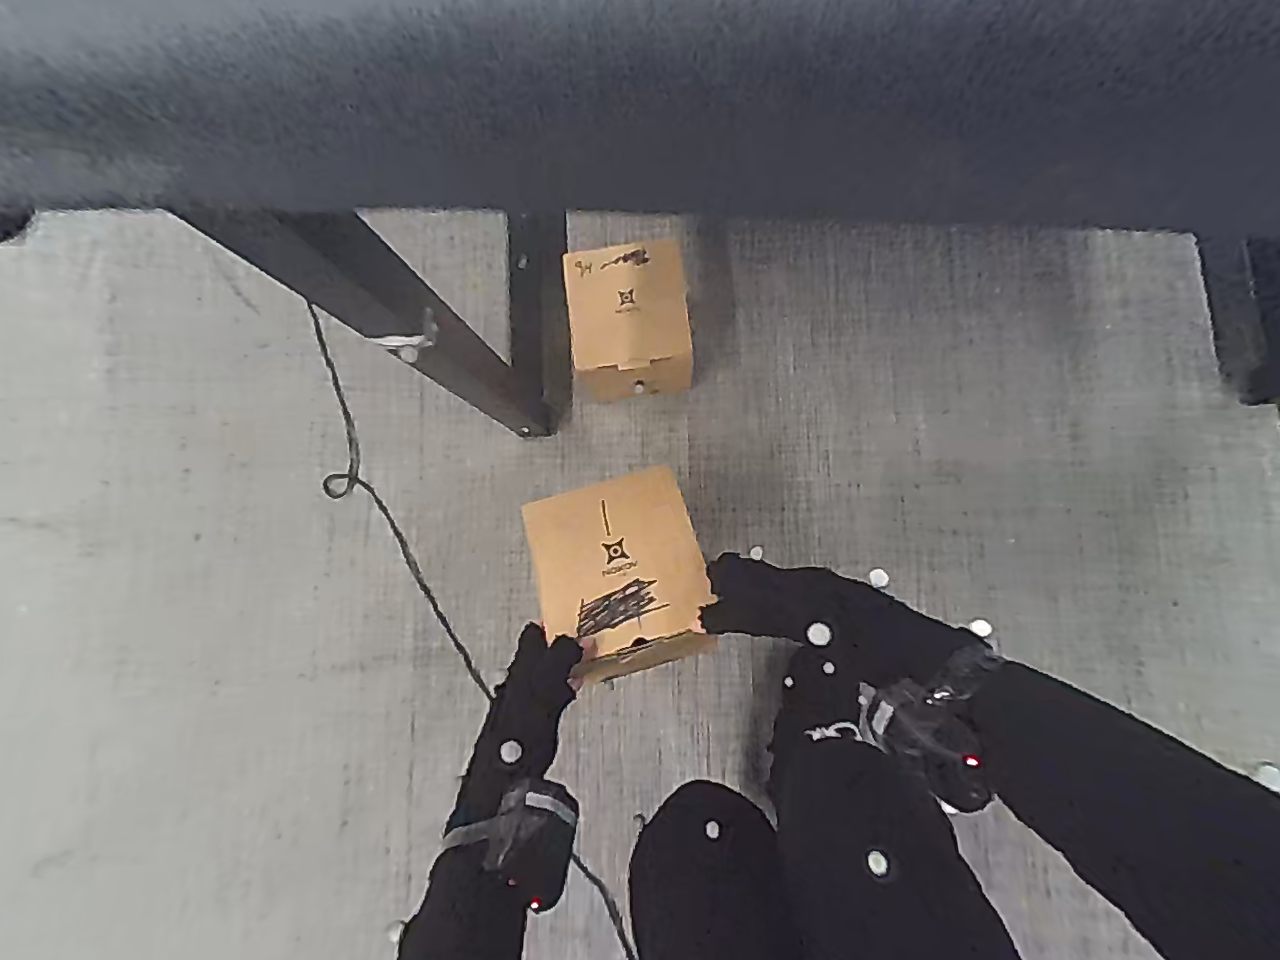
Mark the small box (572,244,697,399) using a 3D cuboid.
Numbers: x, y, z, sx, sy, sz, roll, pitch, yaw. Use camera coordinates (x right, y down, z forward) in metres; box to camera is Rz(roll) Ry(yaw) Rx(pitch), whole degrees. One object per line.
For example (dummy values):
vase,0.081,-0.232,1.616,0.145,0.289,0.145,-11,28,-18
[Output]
small box,-0.002,-0.228,0.829,0.168,0.176,0.179,-6,83,4
